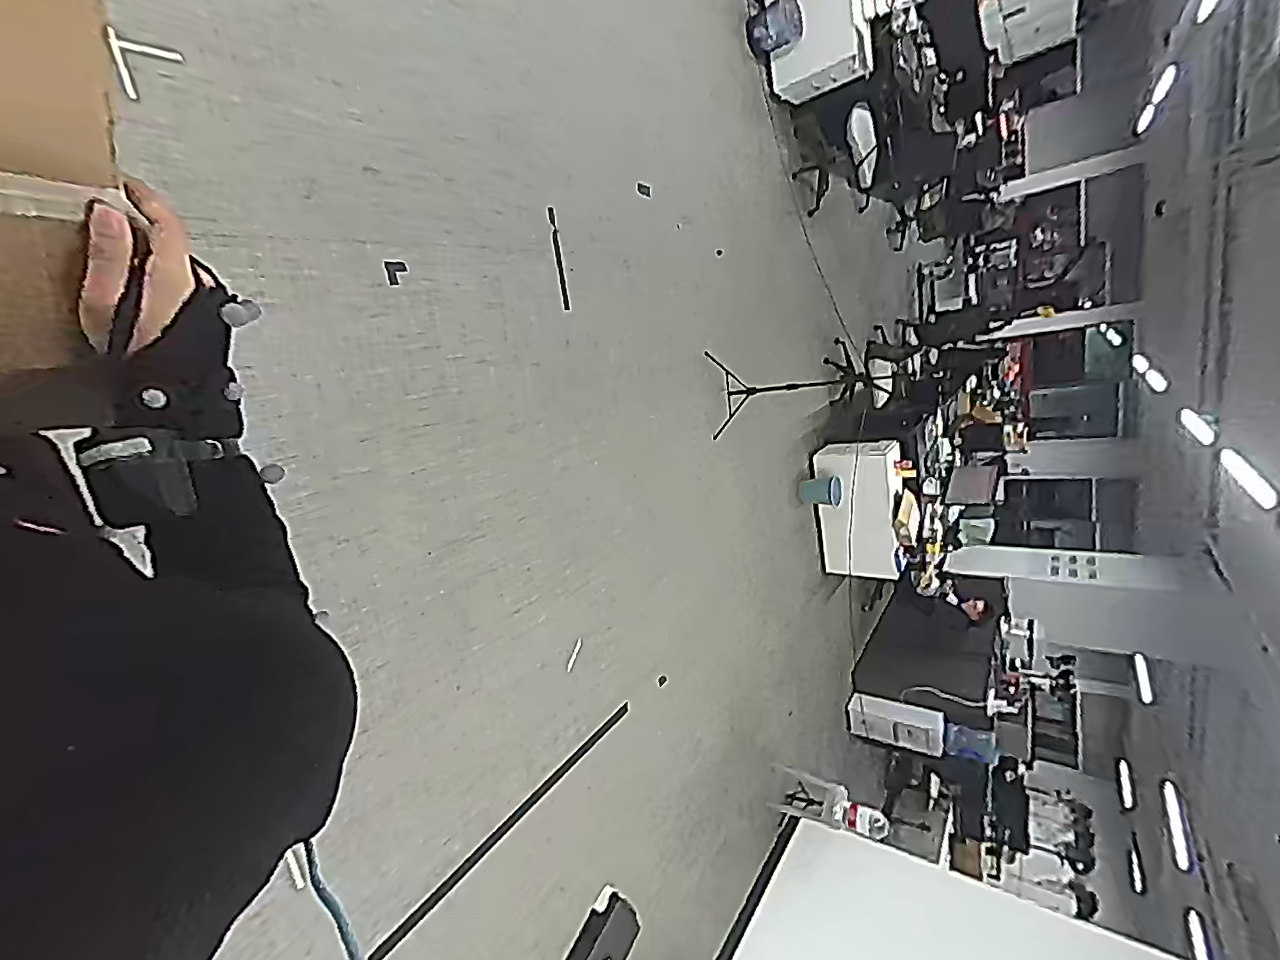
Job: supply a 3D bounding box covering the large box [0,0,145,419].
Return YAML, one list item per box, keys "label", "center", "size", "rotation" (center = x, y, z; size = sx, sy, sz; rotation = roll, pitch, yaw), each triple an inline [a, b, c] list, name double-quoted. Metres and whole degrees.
- label: "large box"
  center: [-0.546, -0.225, 0.248]
  size: [0.408, 0.320, 0.320]
  rotation: [-15, 141, -49]
